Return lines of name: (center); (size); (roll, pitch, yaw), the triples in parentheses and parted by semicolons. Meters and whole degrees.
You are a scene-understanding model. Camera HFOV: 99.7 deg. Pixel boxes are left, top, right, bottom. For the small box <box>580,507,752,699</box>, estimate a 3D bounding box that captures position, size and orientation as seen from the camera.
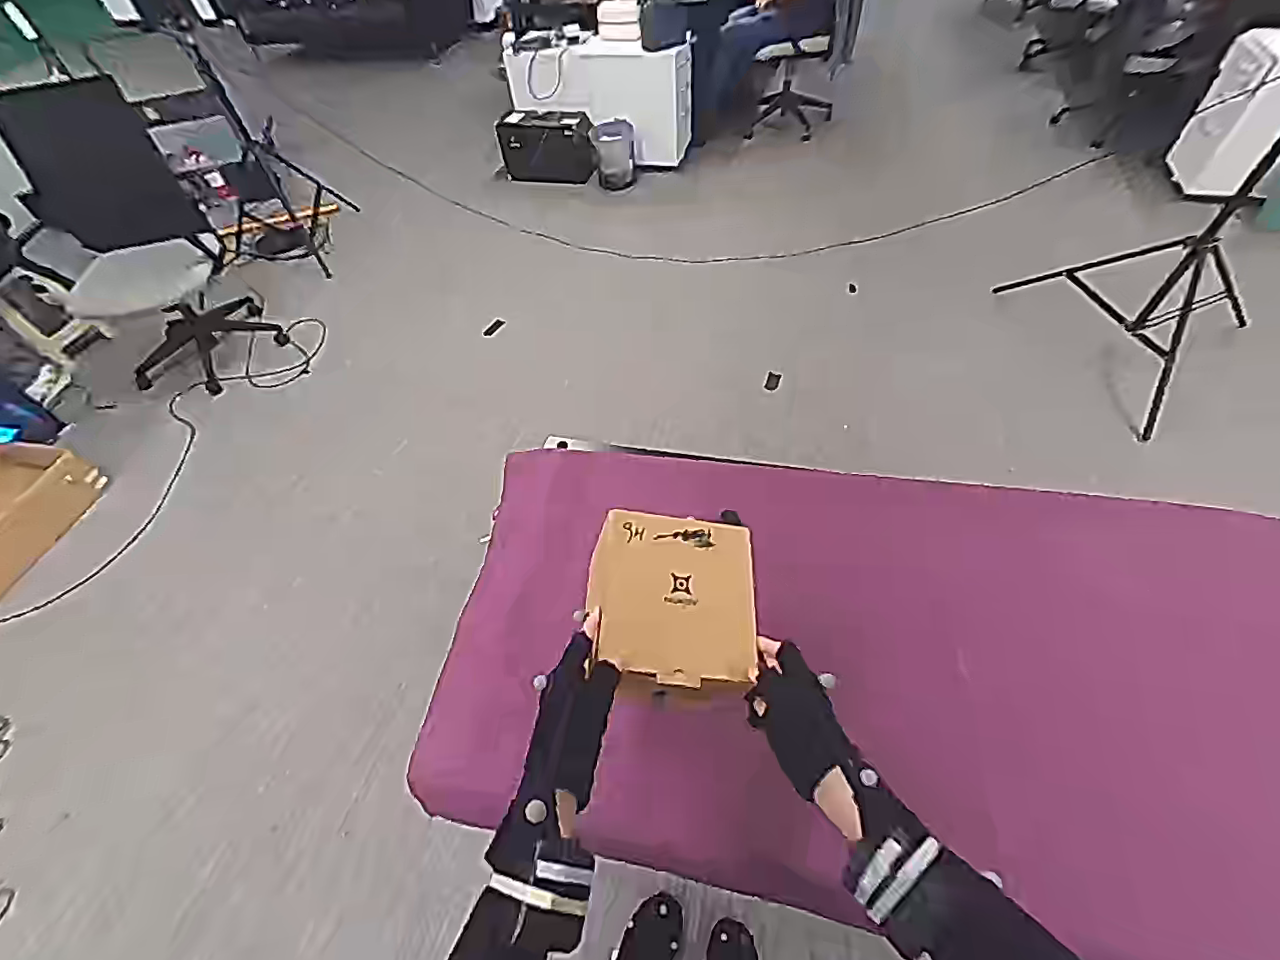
small box: (0.024, 0.156, 0.643); (0.168, 0.176, 0.179); (9, 60, -9)
